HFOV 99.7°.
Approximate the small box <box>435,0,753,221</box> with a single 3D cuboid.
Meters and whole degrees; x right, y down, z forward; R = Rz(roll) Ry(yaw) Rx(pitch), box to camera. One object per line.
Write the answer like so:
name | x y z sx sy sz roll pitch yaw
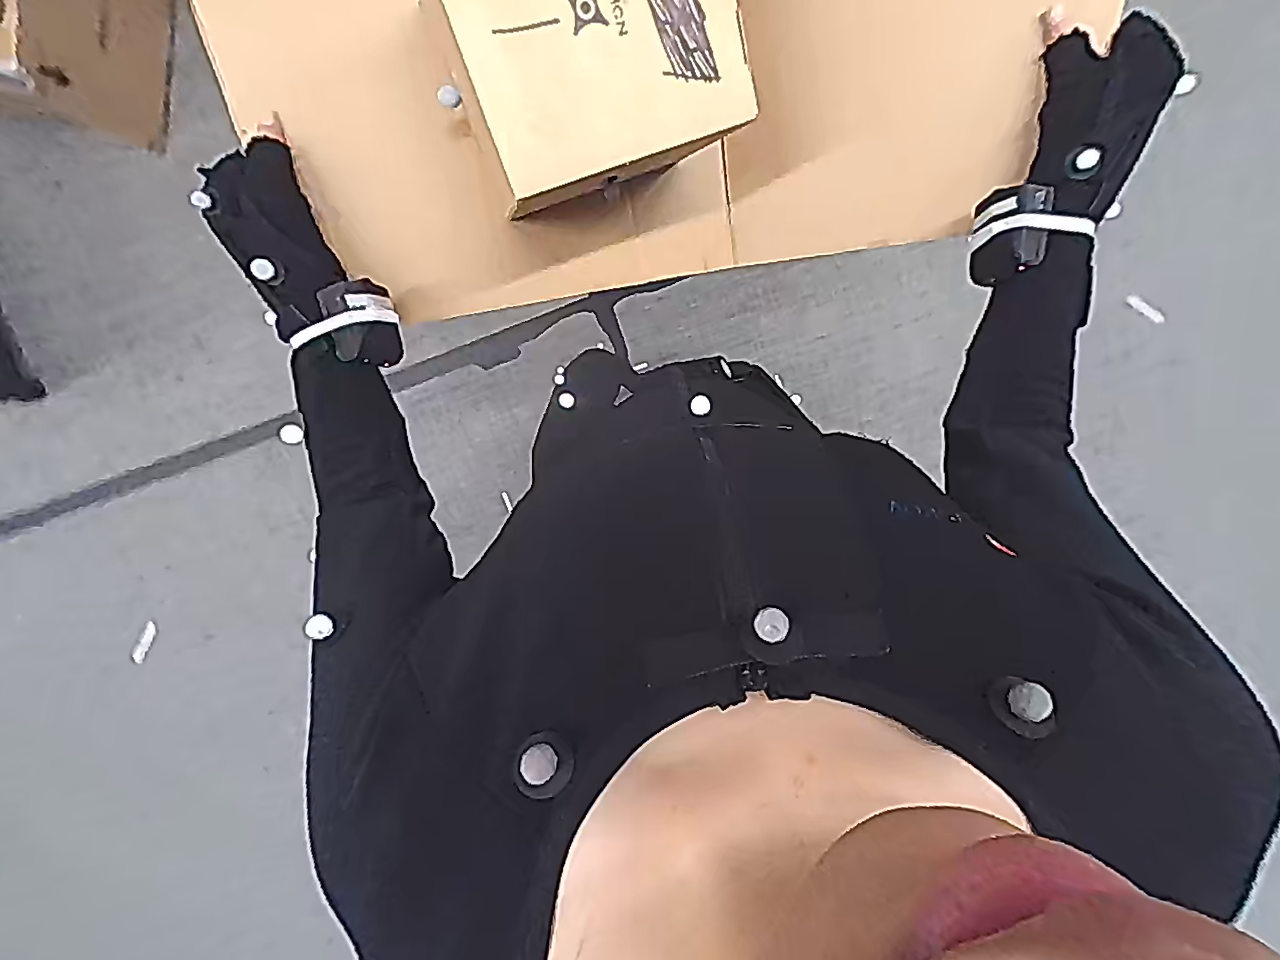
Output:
small box | -0.043 -0.308 0.405 0.179 0.176 0.168 -22 115 -6
